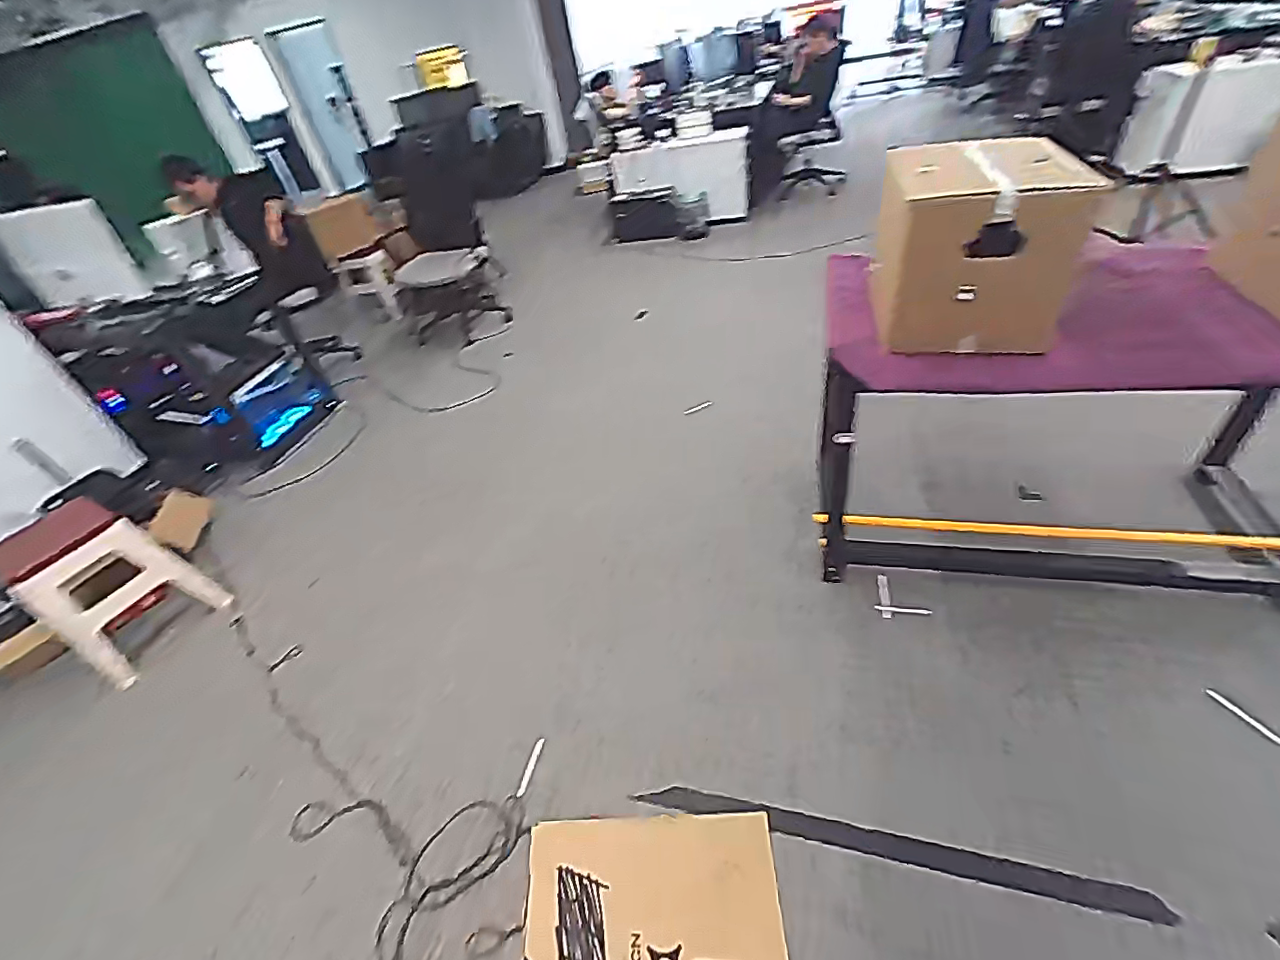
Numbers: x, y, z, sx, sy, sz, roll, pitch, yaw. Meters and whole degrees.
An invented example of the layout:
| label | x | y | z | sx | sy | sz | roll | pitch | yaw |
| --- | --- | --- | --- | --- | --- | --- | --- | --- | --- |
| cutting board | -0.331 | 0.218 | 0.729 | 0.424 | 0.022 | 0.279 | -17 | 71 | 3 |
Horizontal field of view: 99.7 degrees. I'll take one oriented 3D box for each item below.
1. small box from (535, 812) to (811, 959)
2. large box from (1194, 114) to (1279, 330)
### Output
| label | x | y | z | sx | sy | sz | roll | pitch | yaw |
| --- | --- | --- | --- | --- | --- | --- | --- | --- | --- |
| small box | 0.027 | 0.355 | 0.393 | 0.179 | 0.176 | 0.168 | -4 | 48 | 4 |
| large box | 1.358 | -0.476 | 0.979 | 0.320 | 0.320 | 0.408 | 2 | 40 | 16 |
